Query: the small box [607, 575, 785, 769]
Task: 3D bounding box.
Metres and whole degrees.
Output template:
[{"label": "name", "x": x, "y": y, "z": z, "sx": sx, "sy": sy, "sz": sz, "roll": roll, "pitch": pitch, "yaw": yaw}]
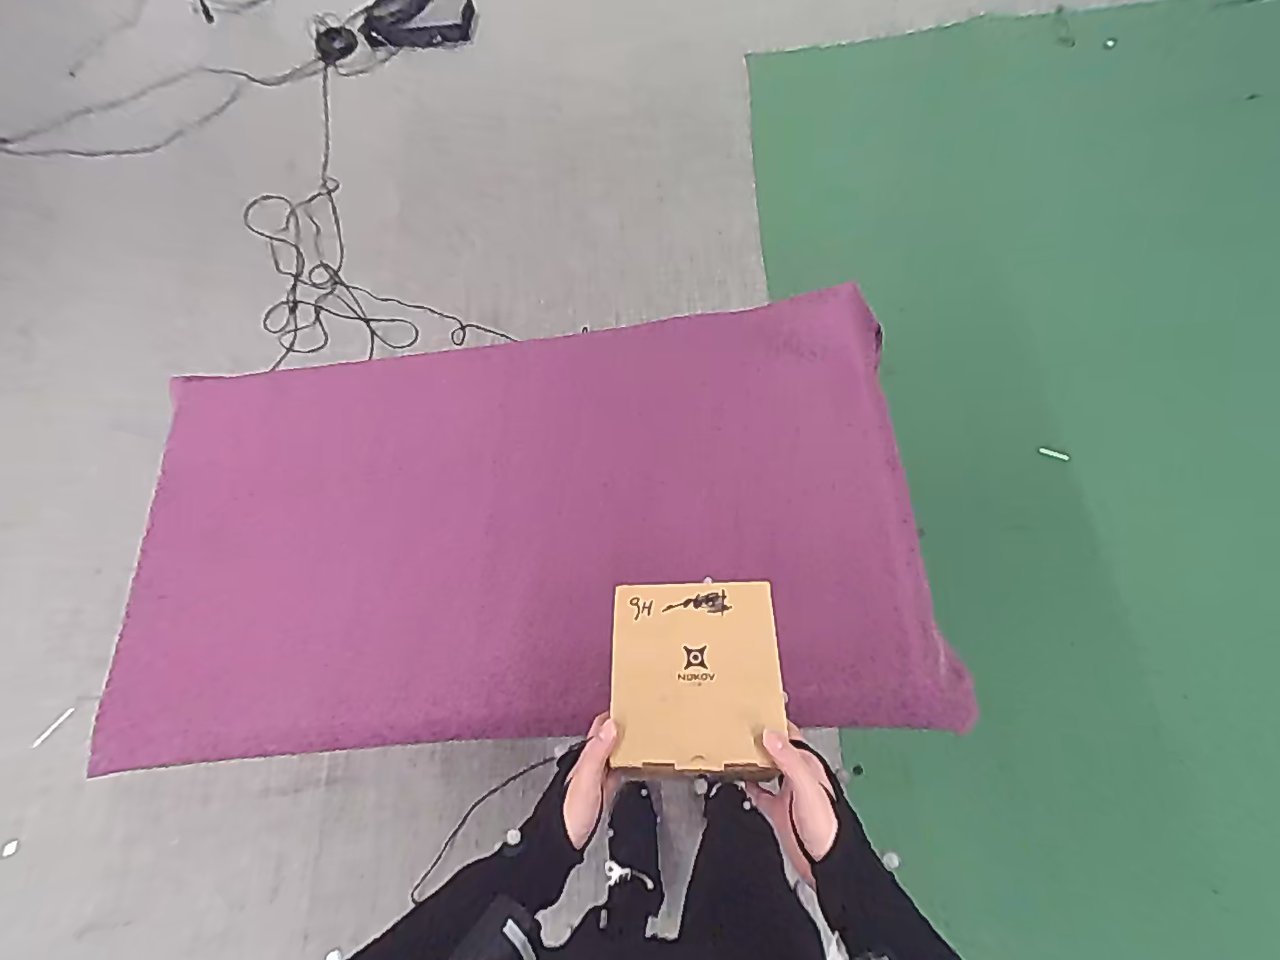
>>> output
[{"label": "small box", "x": 0.061, "y": 0.218, "z": 0.598, "sx": 0.168, "sy": 0.176, "sz": 0.179, "roll": -3, "pitch": 58, "yaw": 6}]
